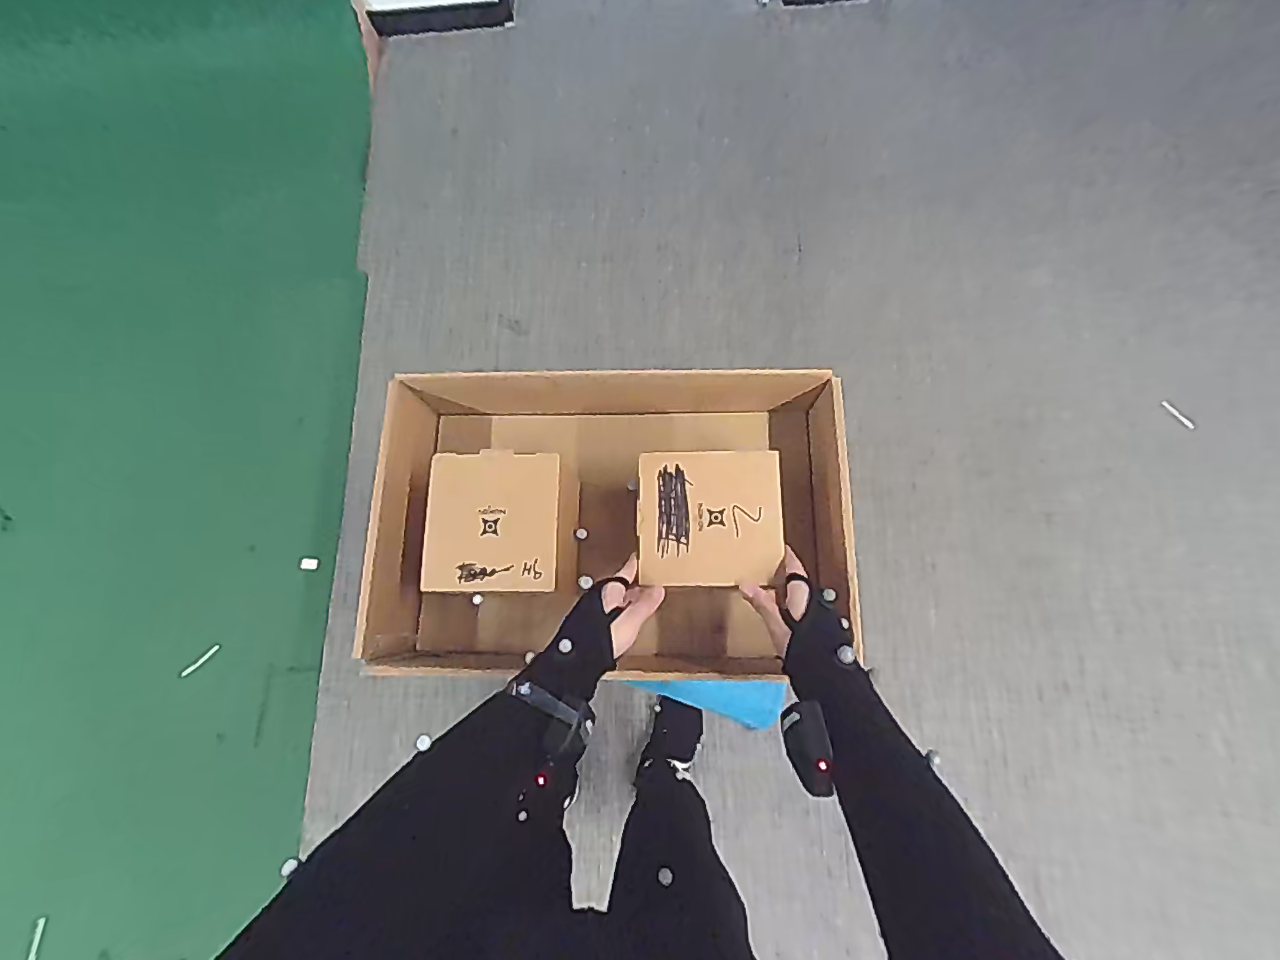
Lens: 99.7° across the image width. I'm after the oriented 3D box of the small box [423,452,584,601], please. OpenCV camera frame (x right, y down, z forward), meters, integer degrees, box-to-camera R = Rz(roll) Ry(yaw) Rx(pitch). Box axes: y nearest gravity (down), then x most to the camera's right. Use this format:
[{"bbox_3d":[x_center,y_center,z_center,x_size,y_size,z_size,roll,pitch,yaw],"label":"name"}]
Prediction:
[{"bbox_3d":[-0.172,0.071,0.741,0.168,0.176,0.179,0,75,4],"label":"small box"}]
